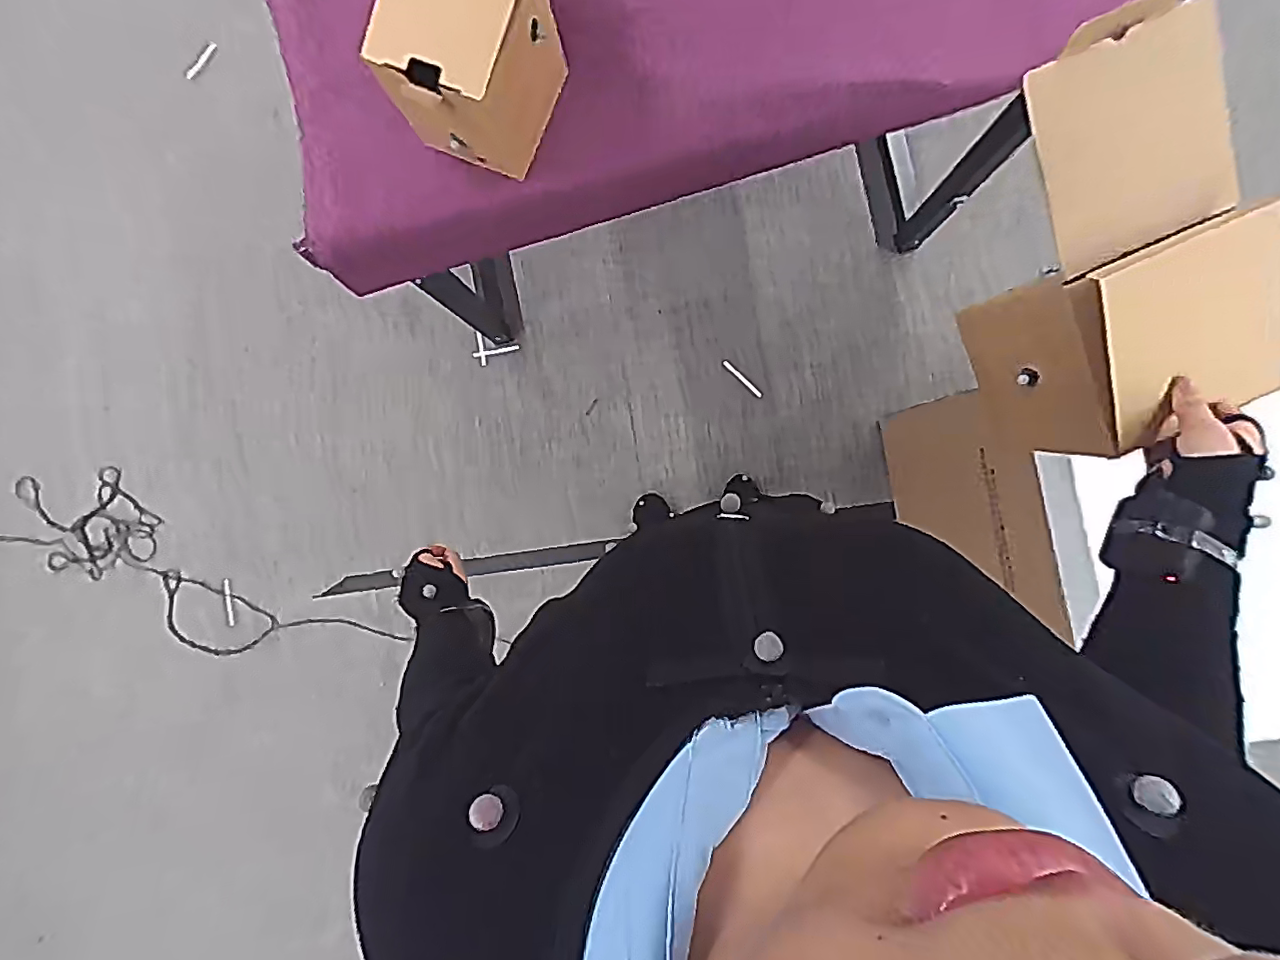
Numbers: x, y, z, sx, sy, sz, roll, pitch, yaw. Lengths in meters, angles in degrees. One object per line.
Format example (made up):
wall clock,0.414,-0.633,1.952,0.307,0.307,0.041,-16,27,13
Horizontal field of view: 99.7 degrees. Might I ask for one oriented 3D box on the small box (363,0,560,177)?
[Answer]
small box,-0.220,-0.552,0.718,0.168,0.176,0.179,23,91,5
